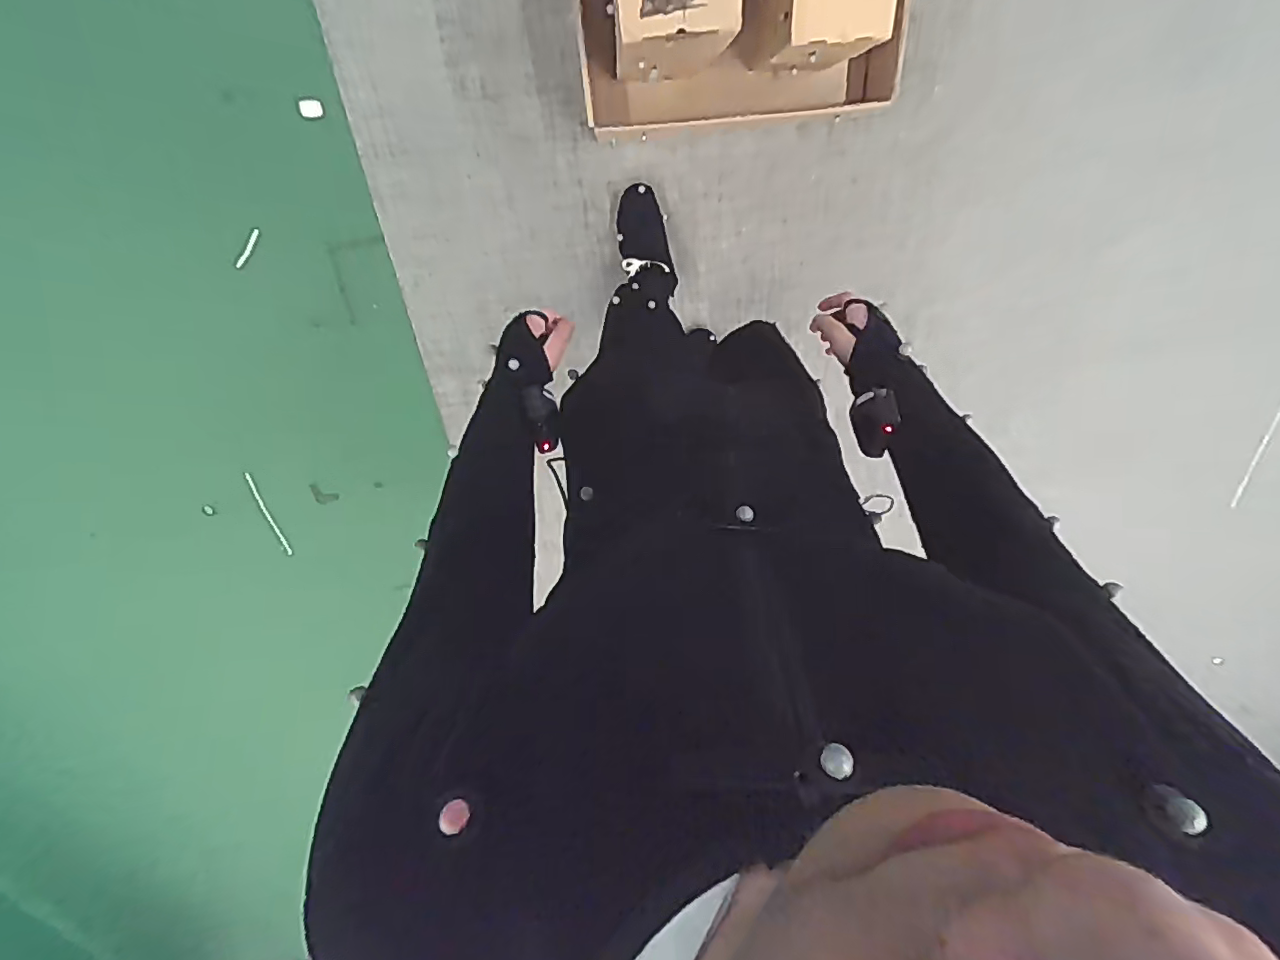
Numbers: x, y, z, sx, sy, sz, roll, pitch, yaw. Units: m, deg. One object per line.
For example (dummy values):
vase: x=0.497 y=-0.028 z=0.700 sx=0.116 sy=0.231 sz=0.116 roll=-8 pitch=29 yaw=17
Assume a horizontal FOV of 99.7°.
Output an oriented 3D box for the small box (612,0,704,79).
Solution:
small box: x=0.032 y=-0.883 z=1.022 sx=0.168 sy=0.176 sz=0.179 roll=-3 pitch=120 yaw=0

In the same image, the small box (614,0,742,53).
small box: x=0.046 y=-0.711 z=0.745 sx=0.168 sy=0.176 sz=0.179 roll=-5 pitch=120 yaw=0

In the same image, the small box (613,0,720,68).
small box: x=0.039 y=-0.798 z=0.884 sx=0.168 sy=0.176 sz=0.179 roll=-4 pitch=121 yaw=-1

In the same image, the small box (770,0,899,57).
small box: x=0.316 y=-0.819 z=0.885 sx=0.168 sy=0.176 sz=0.179 roll=-4 pitch=122 yaw=0
